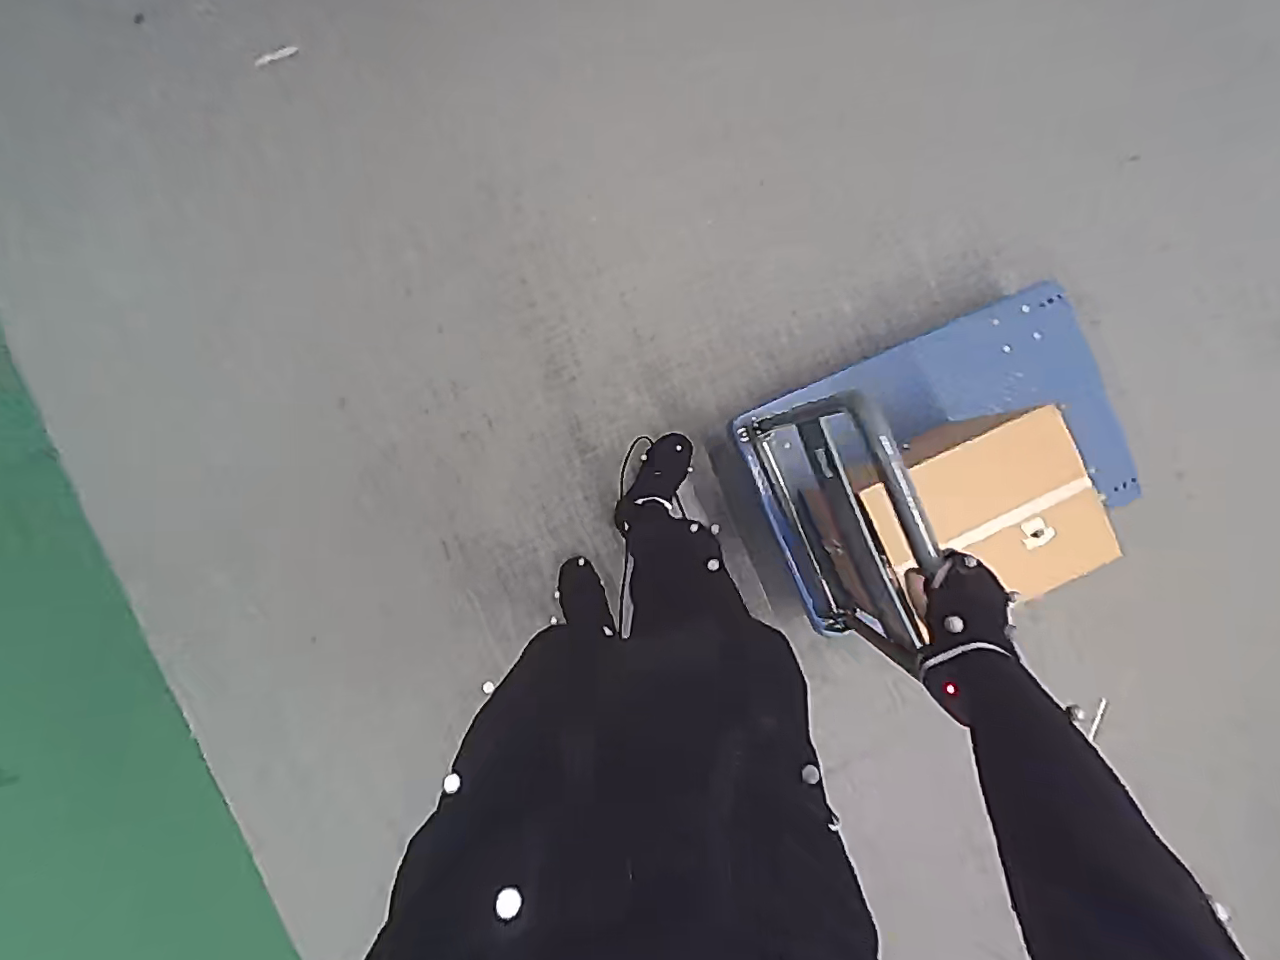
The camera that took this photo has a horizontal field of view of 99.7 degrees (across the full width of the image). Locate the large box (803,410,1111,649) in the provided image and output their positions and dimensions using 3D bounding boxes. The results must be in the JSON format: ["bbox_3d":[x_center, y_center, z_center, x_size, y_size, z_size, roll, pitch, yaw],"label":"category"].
[{"bbox_3d":[0.628,0.092,1.140,0.408,0.320,0.320,-24,92,-3],"label":"large box"}]
